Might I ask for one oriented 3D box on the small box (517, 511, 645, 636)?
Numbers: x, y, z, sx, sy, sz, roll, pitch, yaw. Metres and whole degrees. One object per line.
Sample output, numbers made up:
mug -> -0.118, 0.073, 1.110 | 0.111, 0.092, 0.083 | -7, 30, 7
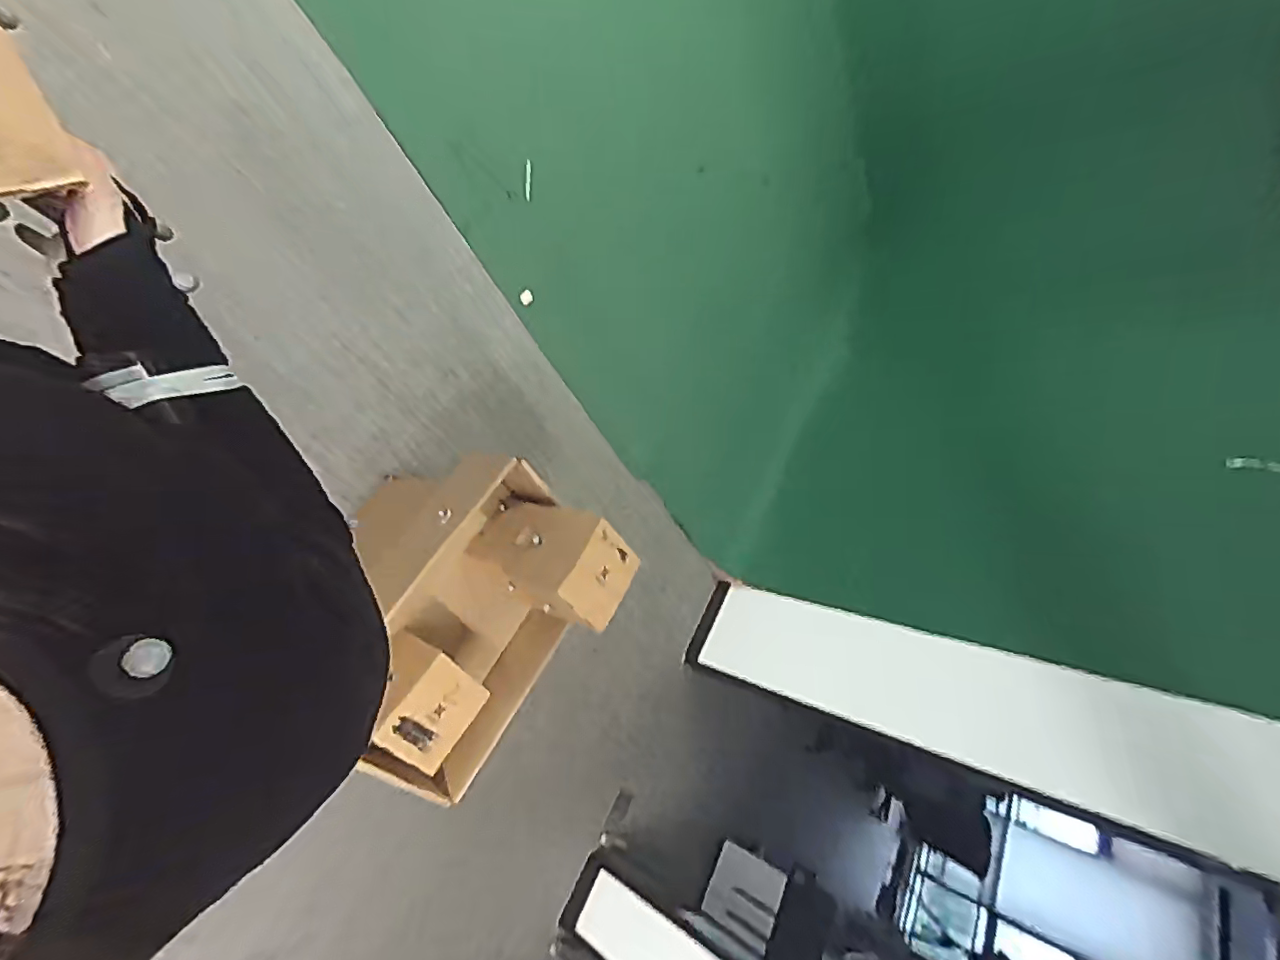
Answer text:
small box -> -0.127, 0.185, 1.112 | 0.179, 0.176, 0.168 | -58, 133, -25
